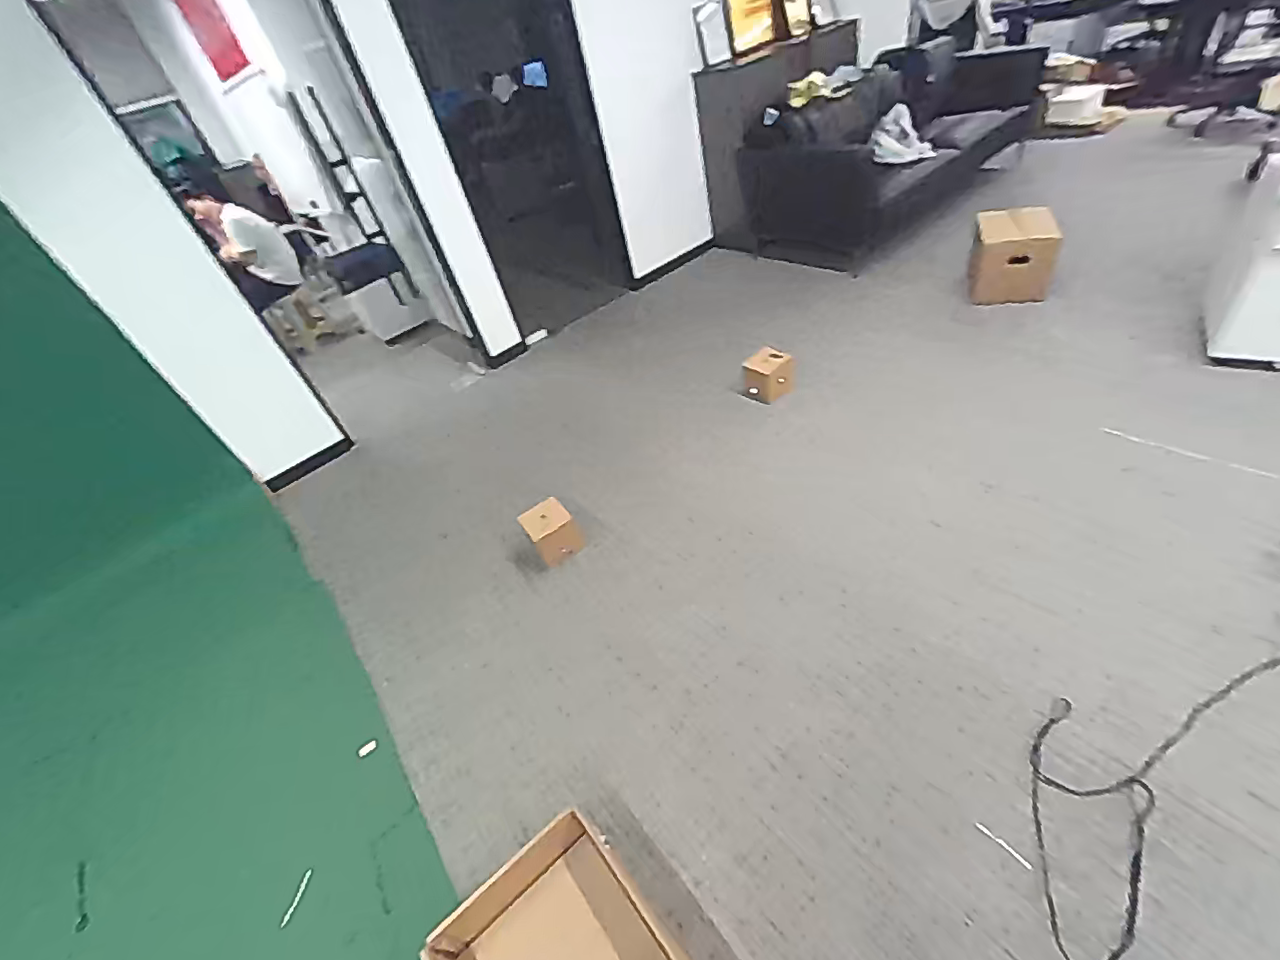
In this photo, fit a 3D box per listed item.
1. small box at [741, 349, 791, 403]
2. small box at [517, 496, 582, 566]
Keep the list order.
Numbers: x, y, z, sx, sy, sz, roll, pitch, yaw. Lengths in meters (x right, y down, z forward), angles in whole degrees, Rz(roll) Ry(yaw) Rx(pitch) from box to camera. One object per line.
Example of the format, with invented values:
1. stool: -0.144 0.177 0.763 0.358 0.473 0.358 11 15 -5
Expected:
1. small box: 0.602 -0.495 2.575 0.179 0.176 0.168 -36 44 -20
2. small box: -0.348 0.198 2.092 0.168 0.176 0.179 -32 43 -17
